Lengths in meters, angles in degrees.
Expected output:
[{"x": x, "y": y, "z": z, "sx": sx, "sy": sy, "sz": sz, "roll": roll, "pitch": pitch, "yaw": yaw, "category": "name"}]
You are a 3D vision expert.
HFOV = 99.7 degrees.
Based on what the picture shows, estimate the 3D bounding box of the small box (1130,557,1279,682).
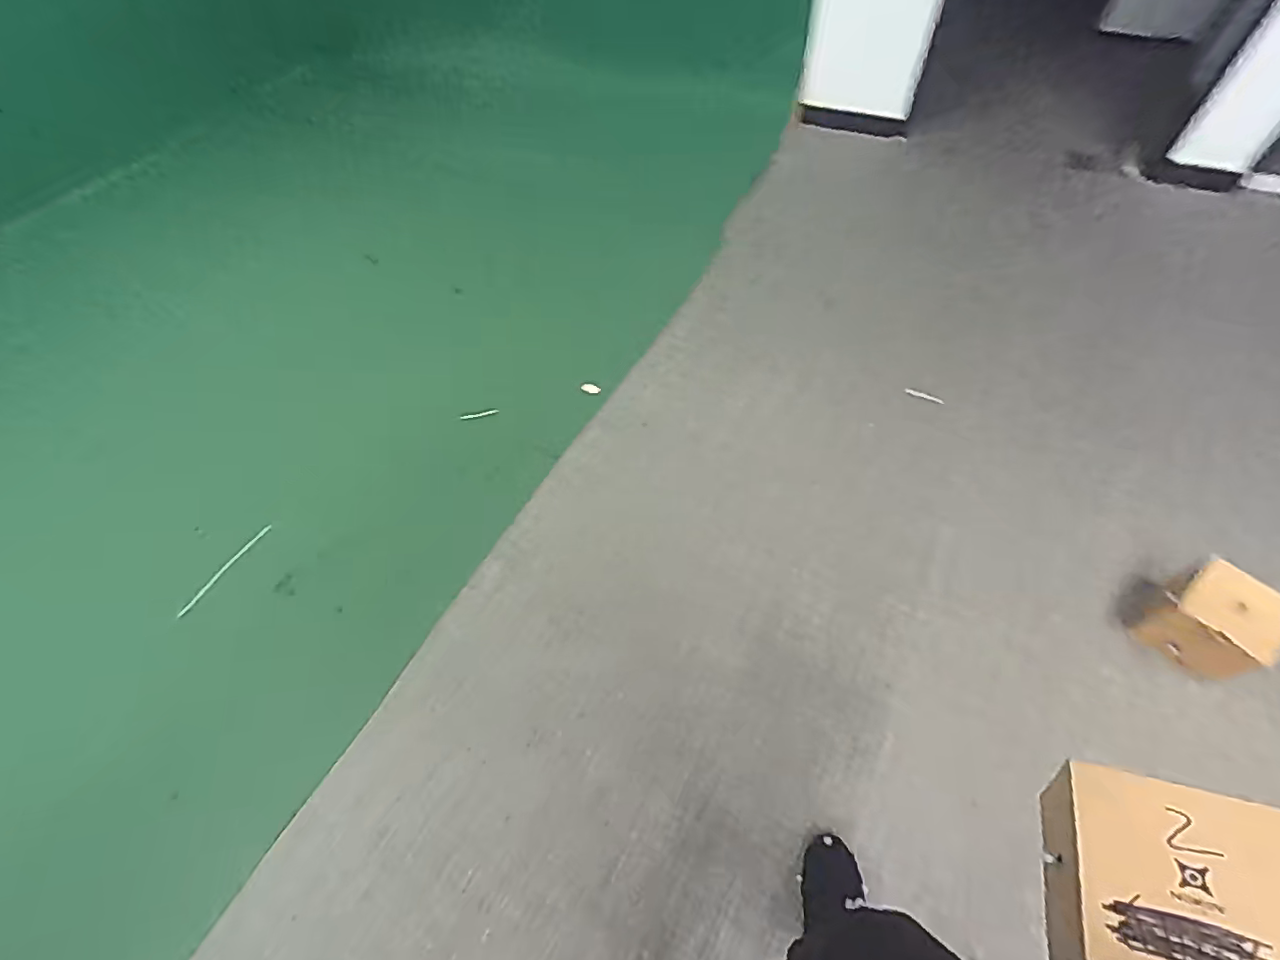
[{"x": 1.225, "y": 0.304, "z": 1.165, "sx": 0.179, "sy": 0.176, "sz": 0.168, "roll": -39, "pitch": 63, "yaw": -17, "category": "small box"}]
